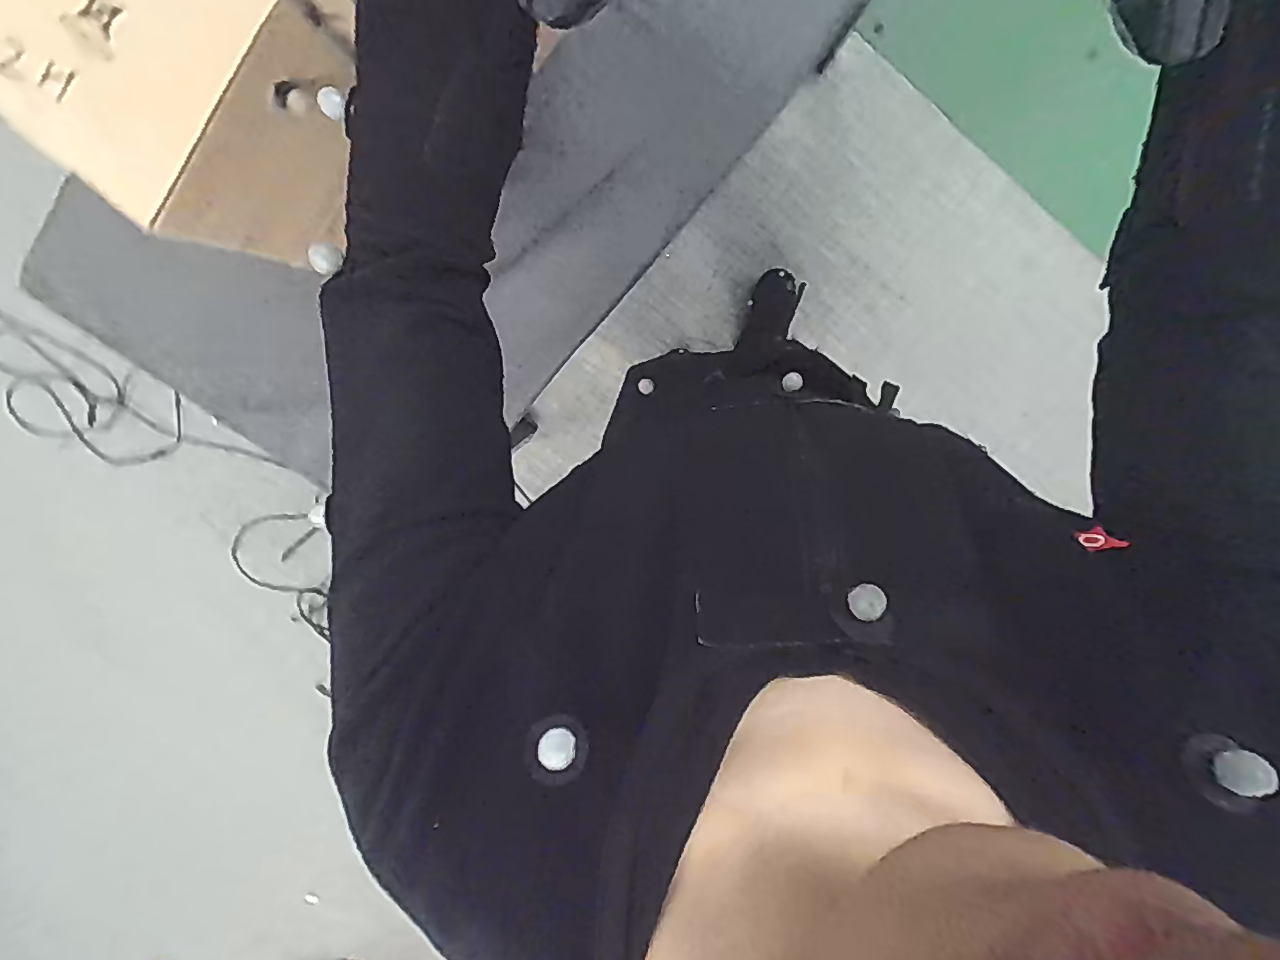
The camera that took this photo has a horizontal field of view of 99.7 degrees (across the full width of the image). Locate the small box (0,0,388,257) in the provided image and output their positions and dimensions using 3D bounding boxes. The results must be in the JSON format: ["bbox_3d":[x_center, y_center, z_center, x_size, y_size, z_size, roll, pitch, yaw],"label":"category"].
[{"bbox_3d":[-0.329,-0.304,0.416,0.168,0.176,0.179,40,101,-8],"label":"small box"}]
